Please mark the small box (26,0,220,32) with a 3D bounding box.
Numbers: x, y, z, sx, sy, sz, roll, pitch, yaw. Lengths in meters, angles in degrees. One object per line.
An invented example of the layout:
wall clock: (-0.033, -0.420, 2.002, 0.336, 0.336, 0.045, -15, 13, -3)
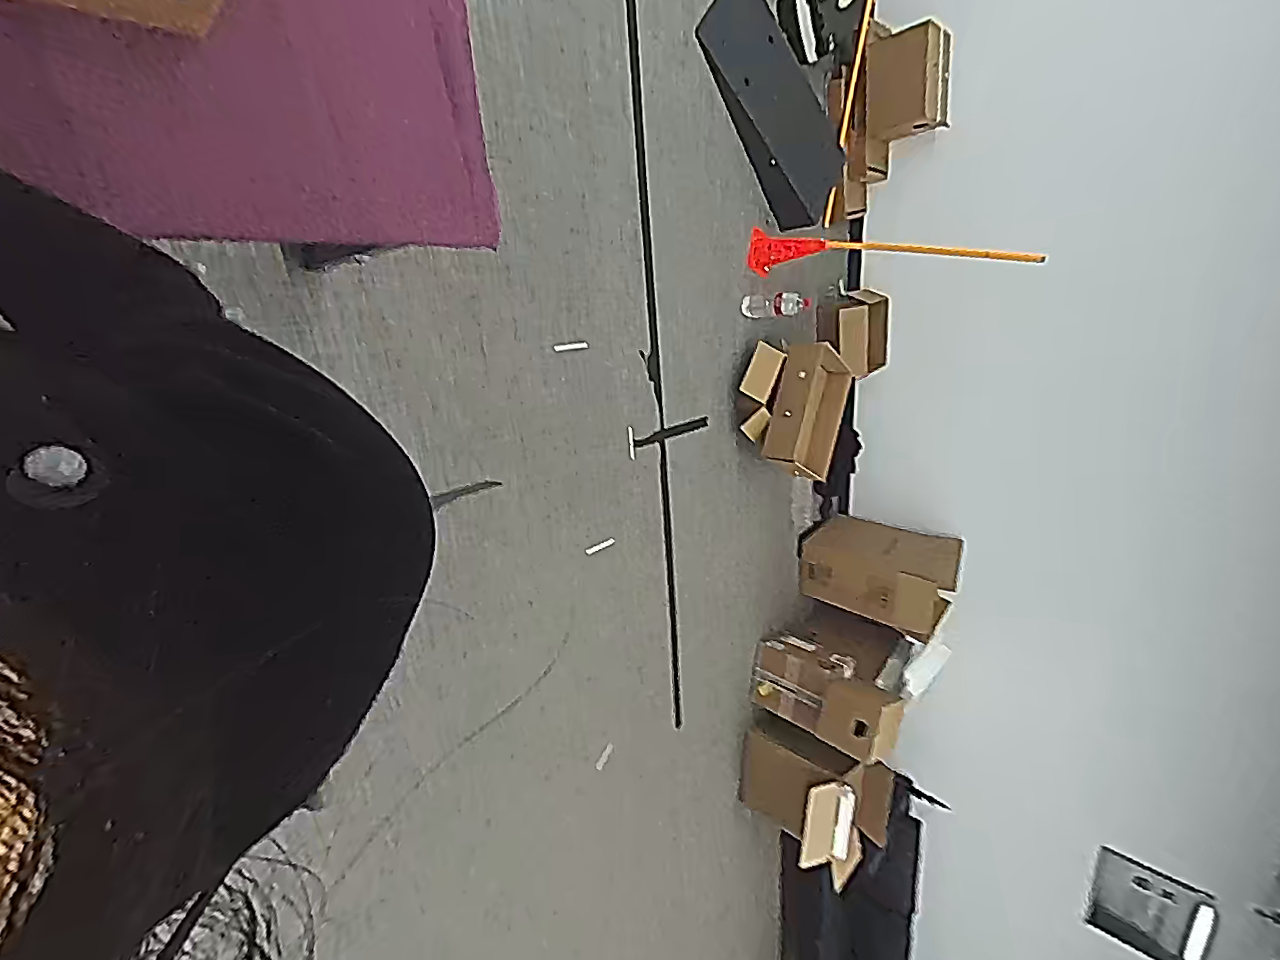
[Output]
small box: (-0.469, -0.510, 0.442, 0.179, 0.176, 0.168, -23, 115, -42)
